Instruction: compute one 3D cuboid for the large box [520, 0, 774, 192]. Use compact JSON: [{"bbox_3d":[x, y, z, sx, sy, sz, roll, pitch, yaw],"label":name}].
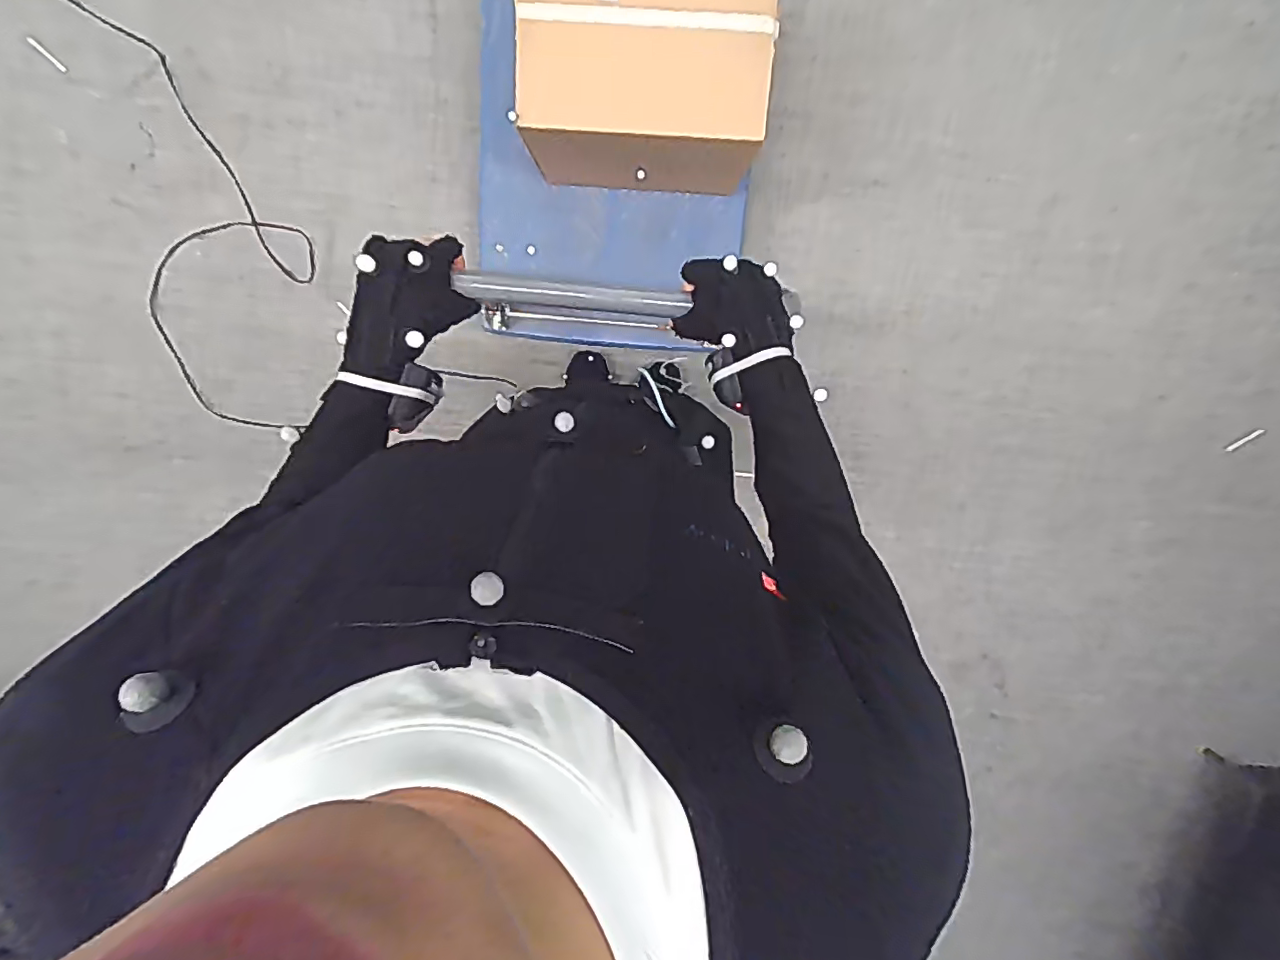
[{"bbox_3d":[0.013,-0.744,0.995,0.408,0.320,0.320,3,103,0],"label":"large box"}]
